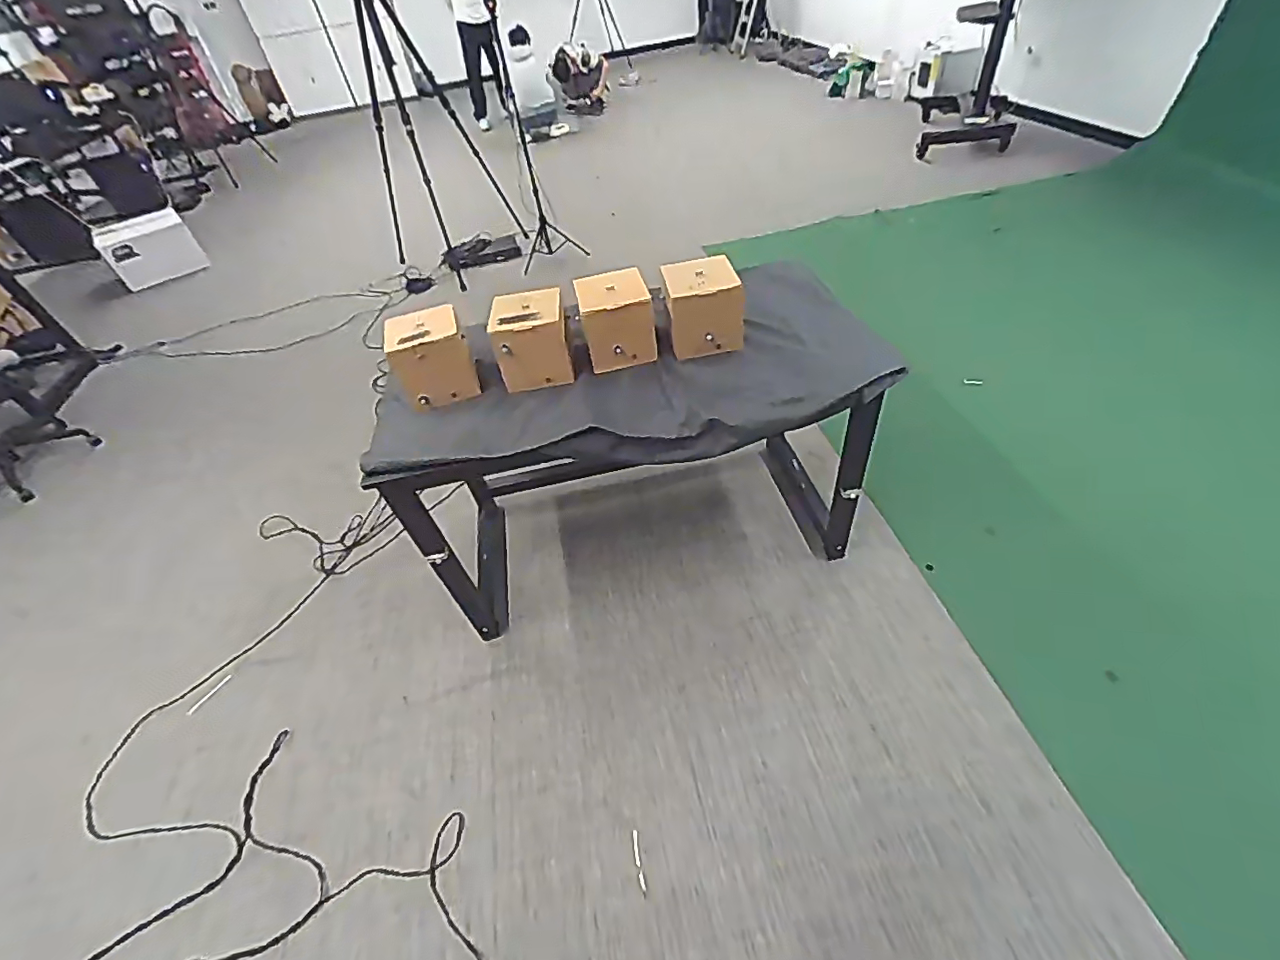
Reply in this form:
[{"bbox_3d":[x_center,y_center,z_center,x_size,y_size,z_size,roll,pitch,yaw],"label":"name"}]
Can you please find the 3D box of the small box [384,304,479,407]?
[{"bbox_3d":[-0.500,-0.295,1.311,0.168,0.176,0.179,-18,44,-8],"label":"small box"}]
